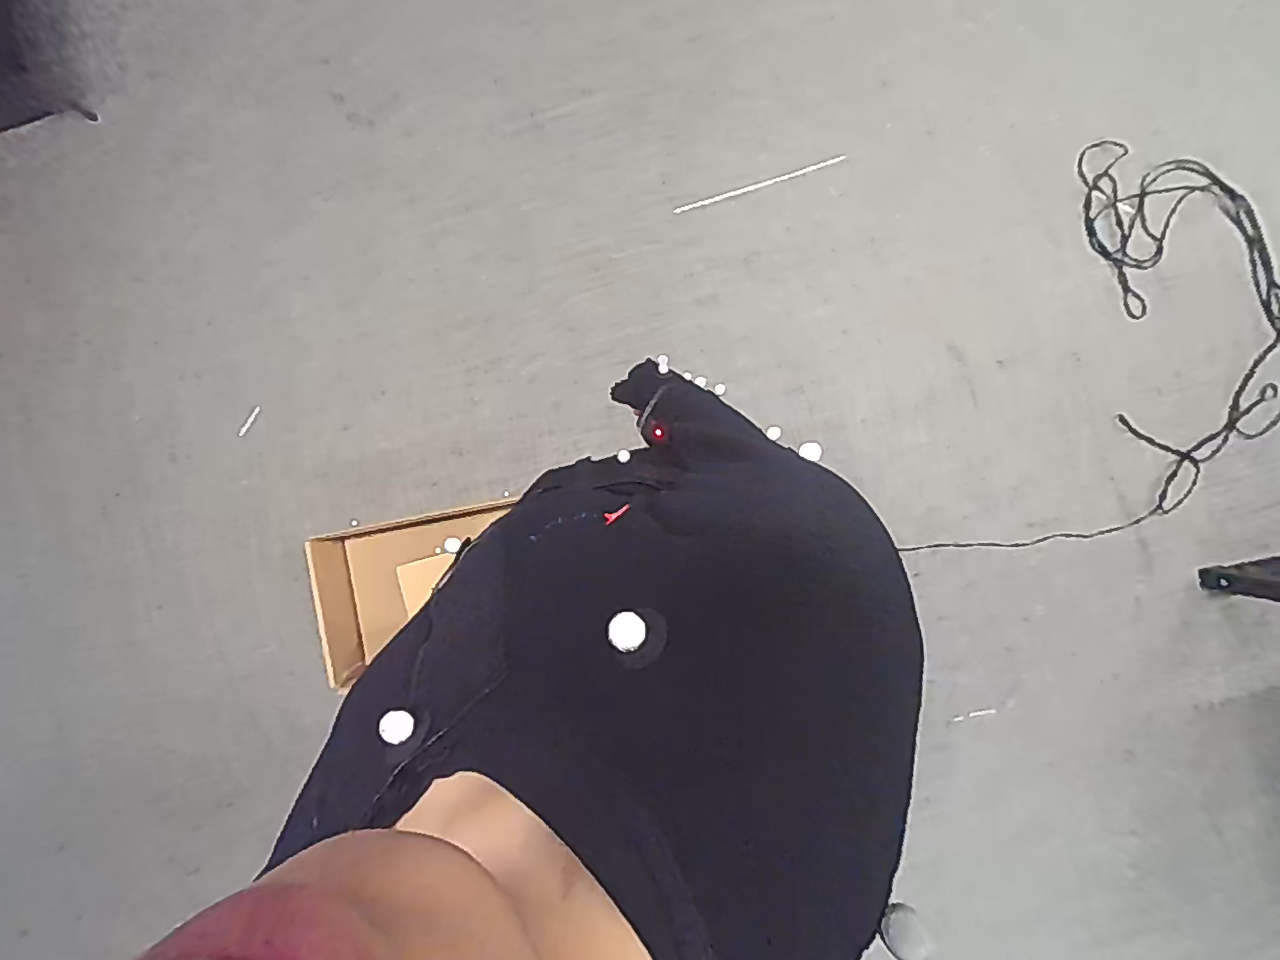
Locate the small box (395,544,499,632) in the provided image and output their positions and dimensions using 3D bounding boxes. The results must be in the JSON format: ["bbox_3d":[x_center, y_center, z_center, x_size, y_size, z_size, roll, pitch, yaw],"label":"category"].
[{"bbox_3d":[-0.480,0.266,1.365,0.179,0.176,0.168,-16,88,2],"label":"small box"}]
